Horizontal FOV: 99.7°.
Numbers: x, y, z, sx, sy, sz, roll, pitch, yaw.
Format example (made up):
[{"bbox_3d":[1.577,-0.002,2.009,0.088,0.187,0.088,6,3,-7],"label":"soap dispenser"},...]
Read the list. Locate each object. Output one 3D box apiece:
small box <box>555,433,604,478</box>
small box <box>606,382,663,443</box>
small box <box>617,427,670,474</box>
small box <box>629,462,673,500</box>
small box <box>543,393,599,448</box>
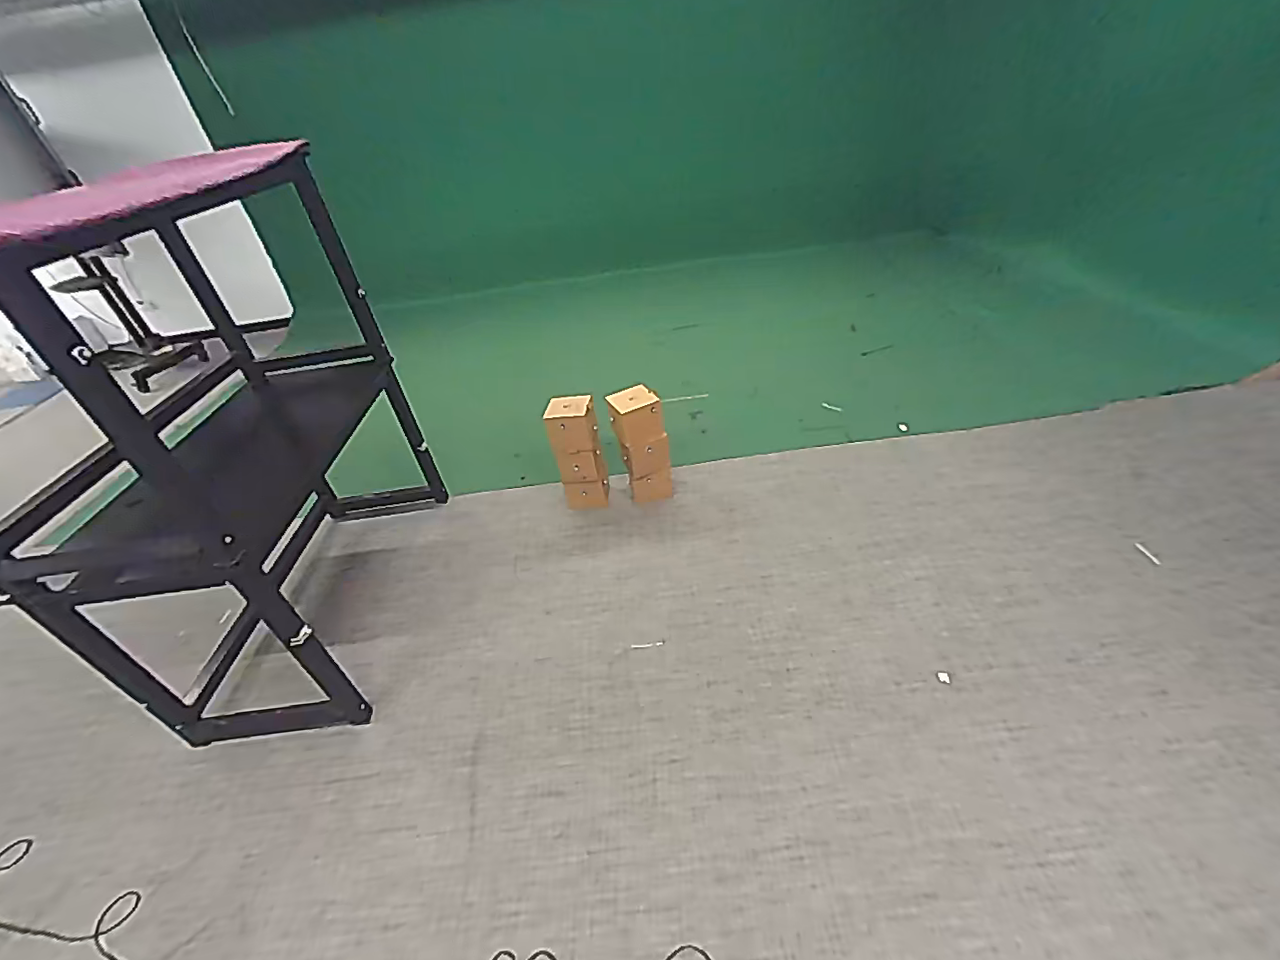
[{"bbox_3d":[-0.258,-0.119,2.343,0.168,0.176,0.179,-4,38,7],"label":"small box"},{"bbox_3d":[-0.018,-0.276,2.230,0.179,0.176,0.168,-23,40,-18],"label":"small box"},{"bbox_3d":[0.019,-0.148,2.326,0.179,0.176,0.168,-19,40,-14],"label":"small box"},{"bbox_3d":[0.047,-0.029,2.432,0.179,0.176,0.168,-12,38,-4],"label":"small box"},{"bbox_3d":[-0.278,-0.243,2.233,0.179,0.176,0.168,-2,38,10],"label":"small box"}]
